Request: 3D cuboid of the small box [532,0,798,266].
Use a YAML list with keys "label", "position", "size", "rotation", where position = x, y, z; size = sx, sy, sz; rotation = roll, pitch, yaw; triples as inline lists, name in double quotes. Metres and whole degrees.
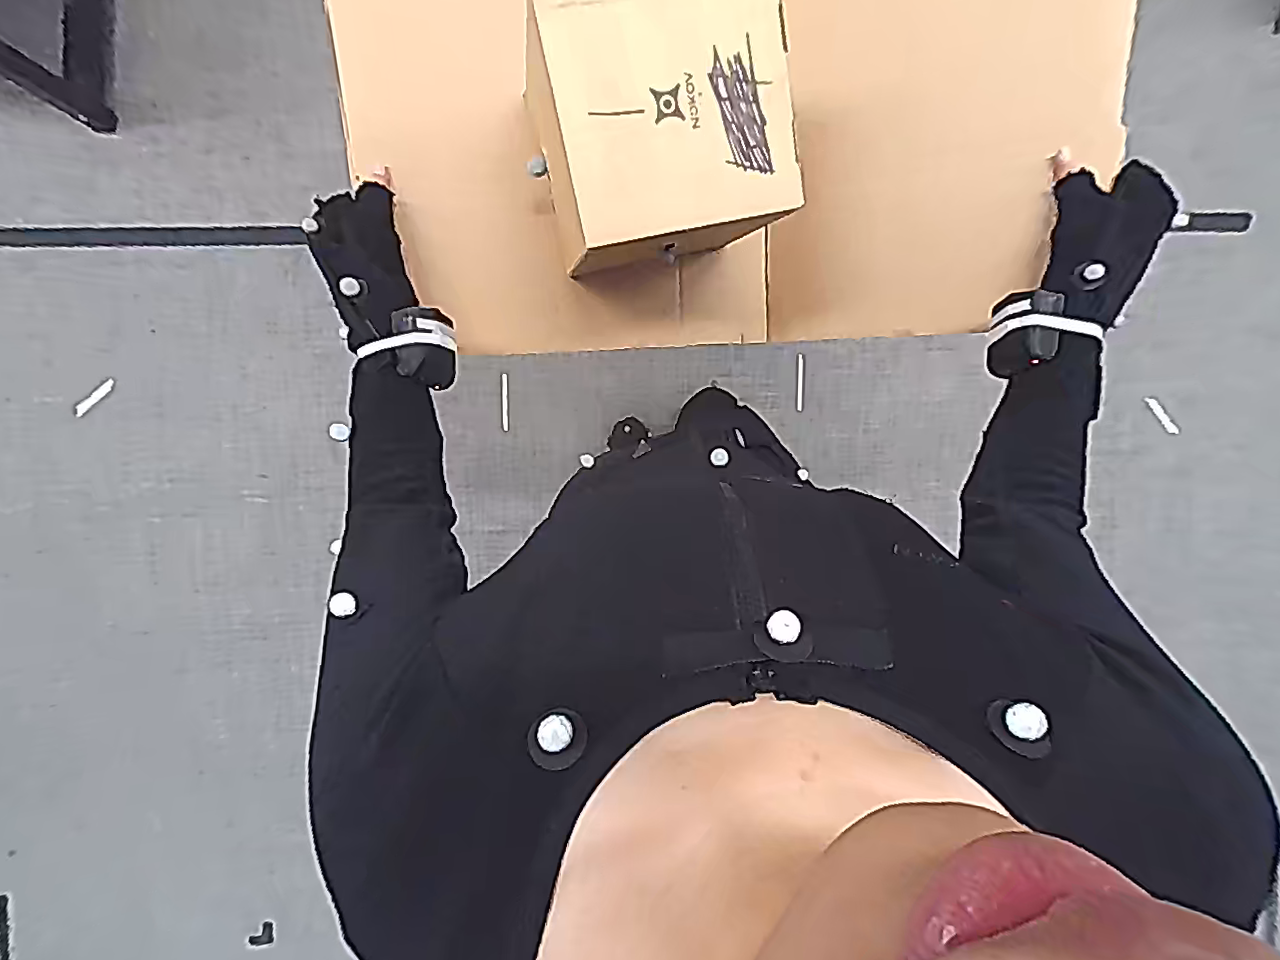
- label: "small box"
  position: [0.011, -0.294, 0.467]
  size: [0.179, 0.176, 0.168]
  rotation: [-14, 106, -8]
